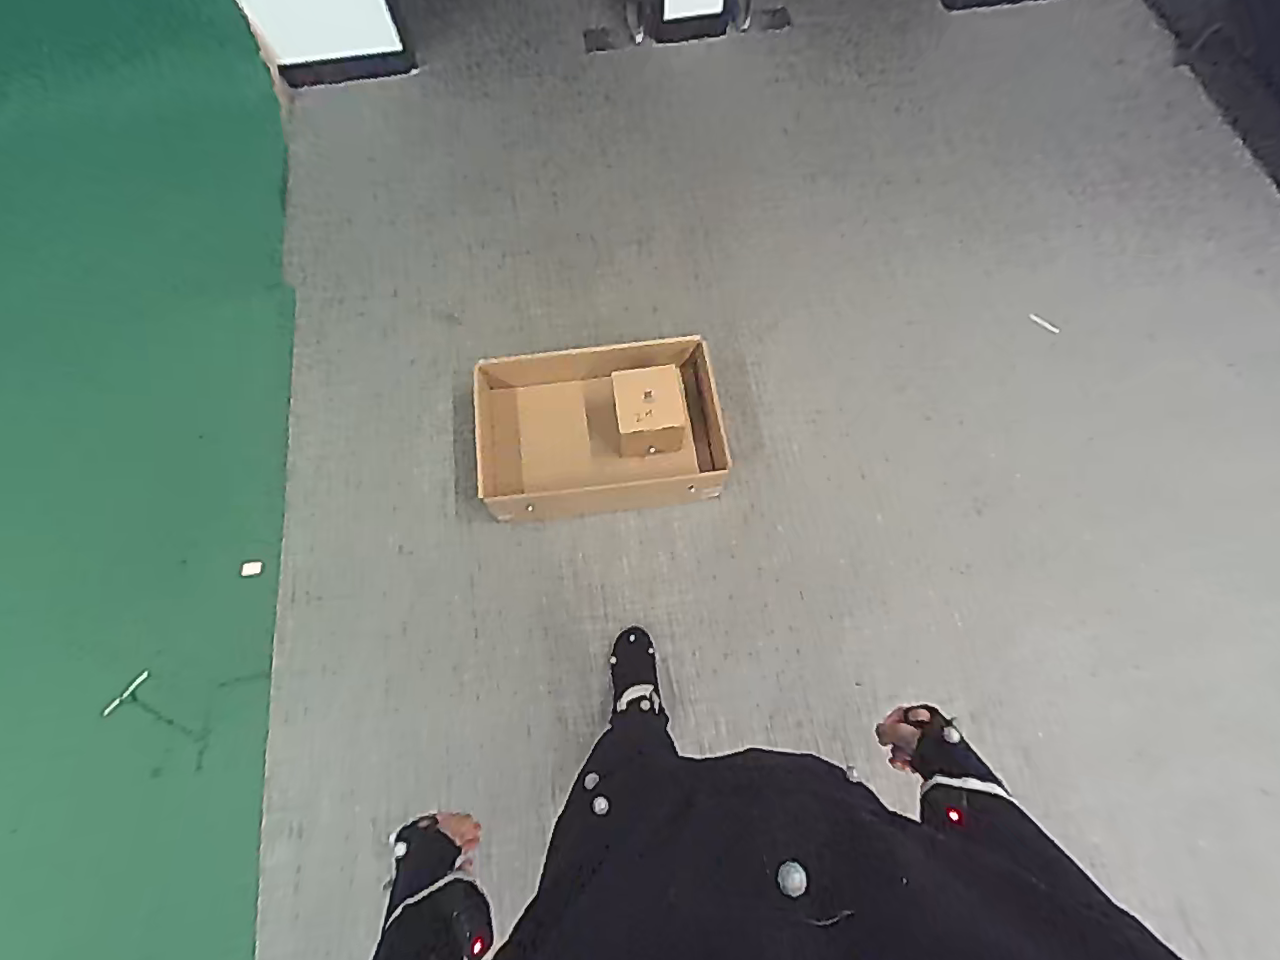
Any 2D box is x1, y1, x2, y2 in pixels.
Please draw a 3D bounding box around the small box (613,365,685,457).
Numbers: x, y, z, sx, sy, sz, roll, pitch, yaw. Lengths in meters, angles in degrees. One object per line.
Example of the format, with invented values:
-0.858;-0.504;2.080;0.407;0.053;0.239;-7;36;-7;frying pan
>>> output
0.021;-0.179;1.429;0.168;0.176;0.179;-8;71;-1;small box
